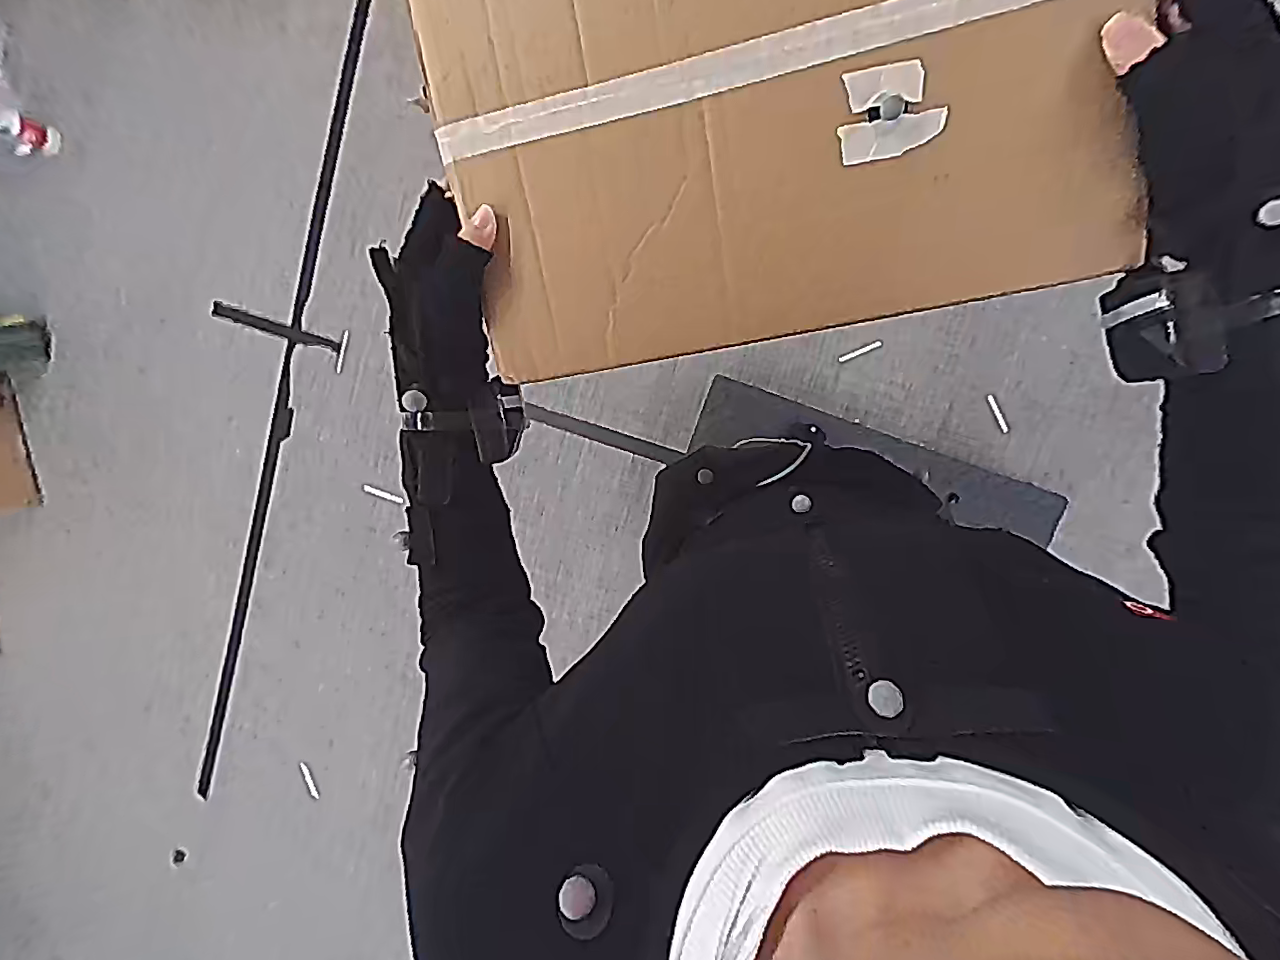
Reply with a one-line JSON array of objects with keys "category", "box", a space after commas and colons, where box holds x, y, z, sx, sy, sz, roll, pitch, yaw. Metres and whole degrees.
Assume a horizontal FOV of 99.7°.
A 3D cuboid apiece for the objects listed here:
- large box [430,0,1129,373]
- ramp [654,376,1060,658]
[{"category": "large box", "box": [0.092, -0.291, 0.473, 0.408, 0.320, 0.320, -9, 104, 9]}, {"category": "ramp", "box": [0.581, 0.107, 1.459, 0.991, 0.206, 0.509, 18, 96, 9]}]
